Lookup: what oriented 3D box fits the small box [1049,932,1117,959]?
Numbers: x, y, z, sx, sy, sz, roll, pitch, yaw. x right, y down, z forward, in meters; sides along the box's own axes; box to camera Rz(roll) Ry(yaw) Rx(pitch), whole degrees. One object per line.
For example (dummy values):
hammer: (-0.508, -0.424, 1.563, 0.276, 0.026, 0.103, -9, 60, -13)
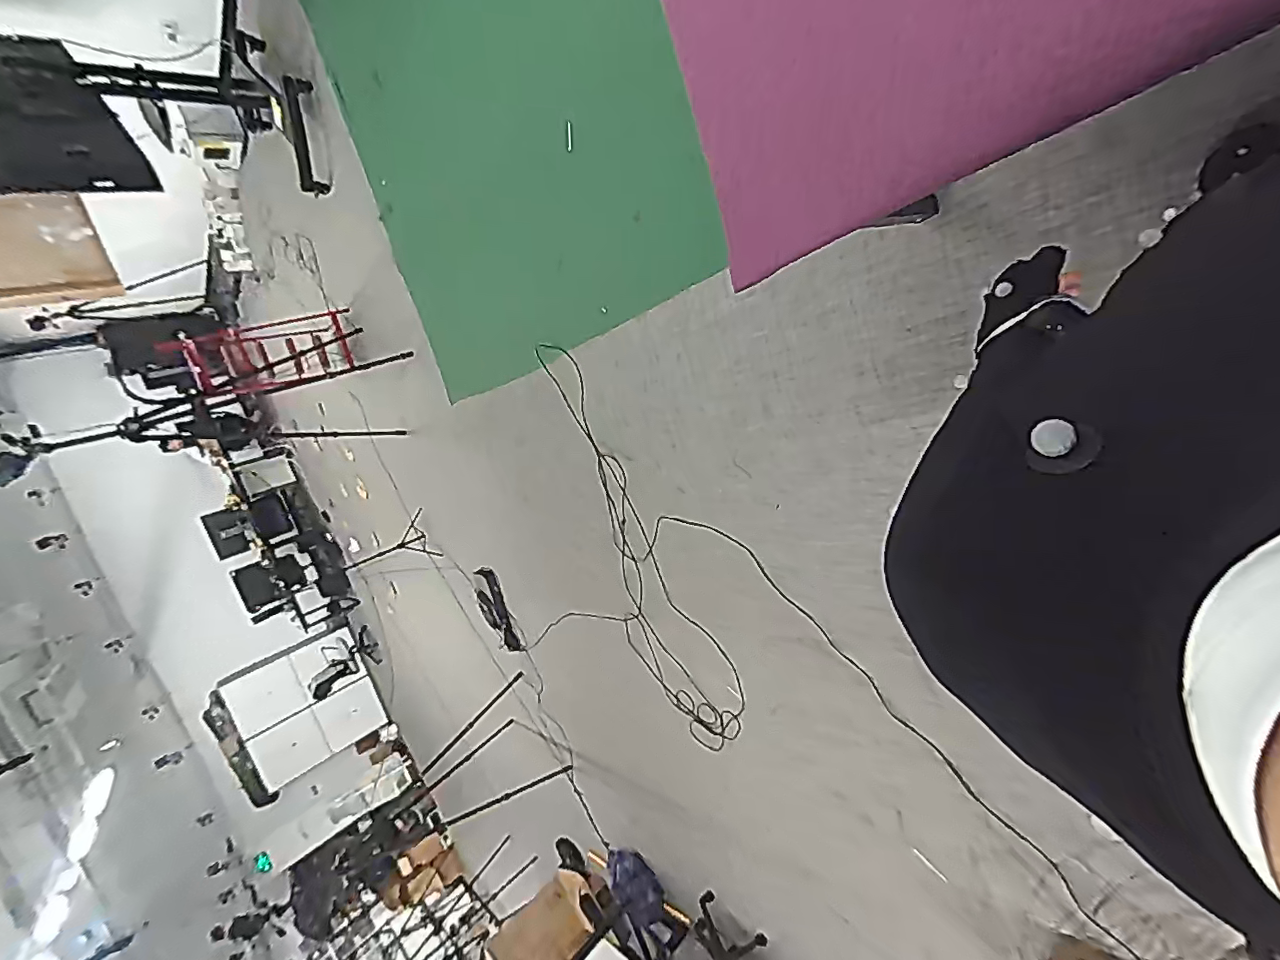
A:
small box: (1.325, 1.501, 1.591, 0.168, 0.176, 0.179, -10, 101, 52)
